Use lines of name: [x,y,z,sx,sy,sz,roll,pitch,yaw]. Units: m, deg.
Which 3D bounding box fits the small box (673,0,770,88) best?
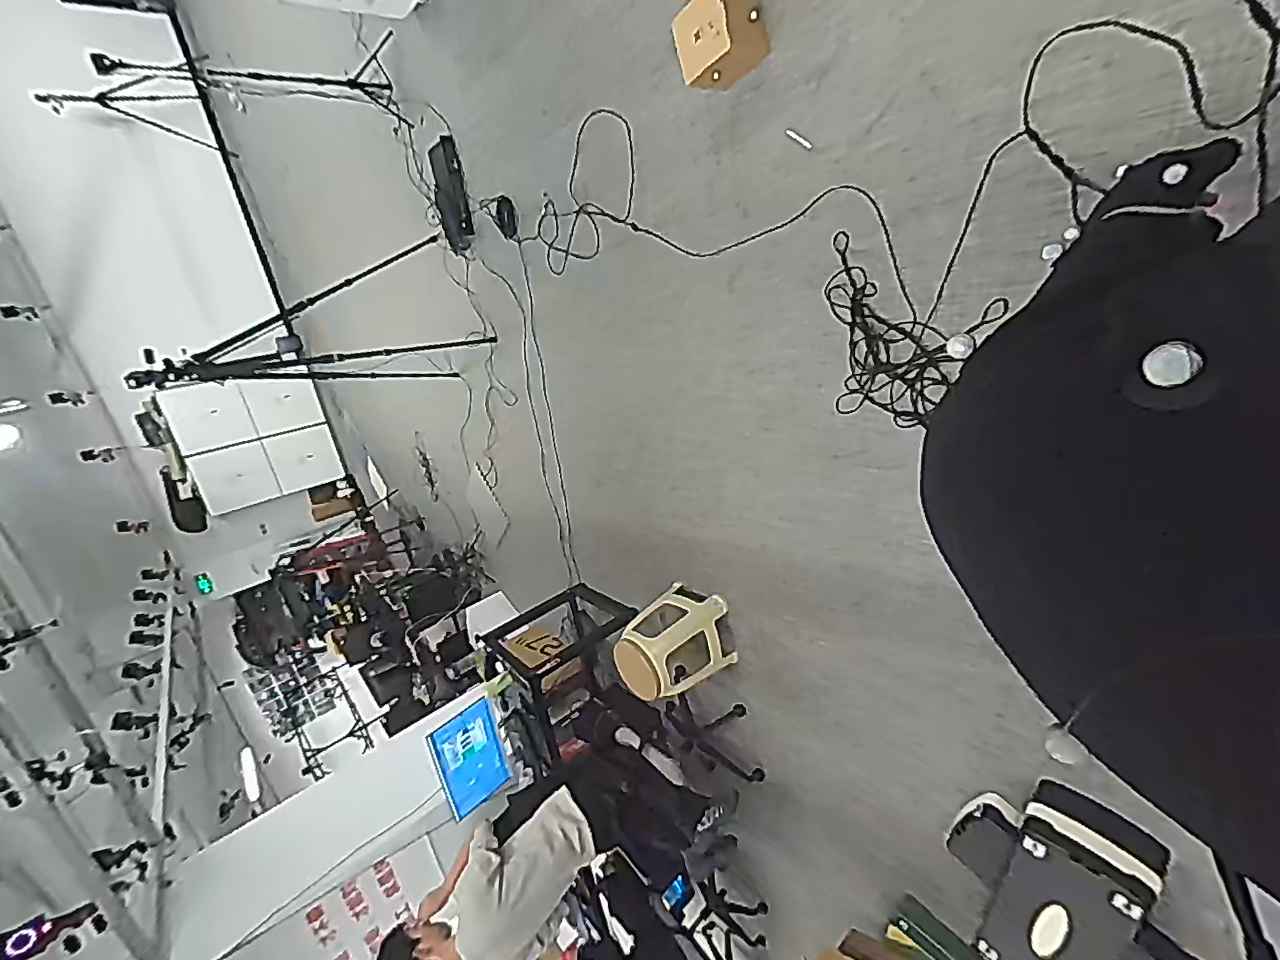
small box: [0.224,-1.205,1.475,0.179,0.176,0.168,-2,109,53]
